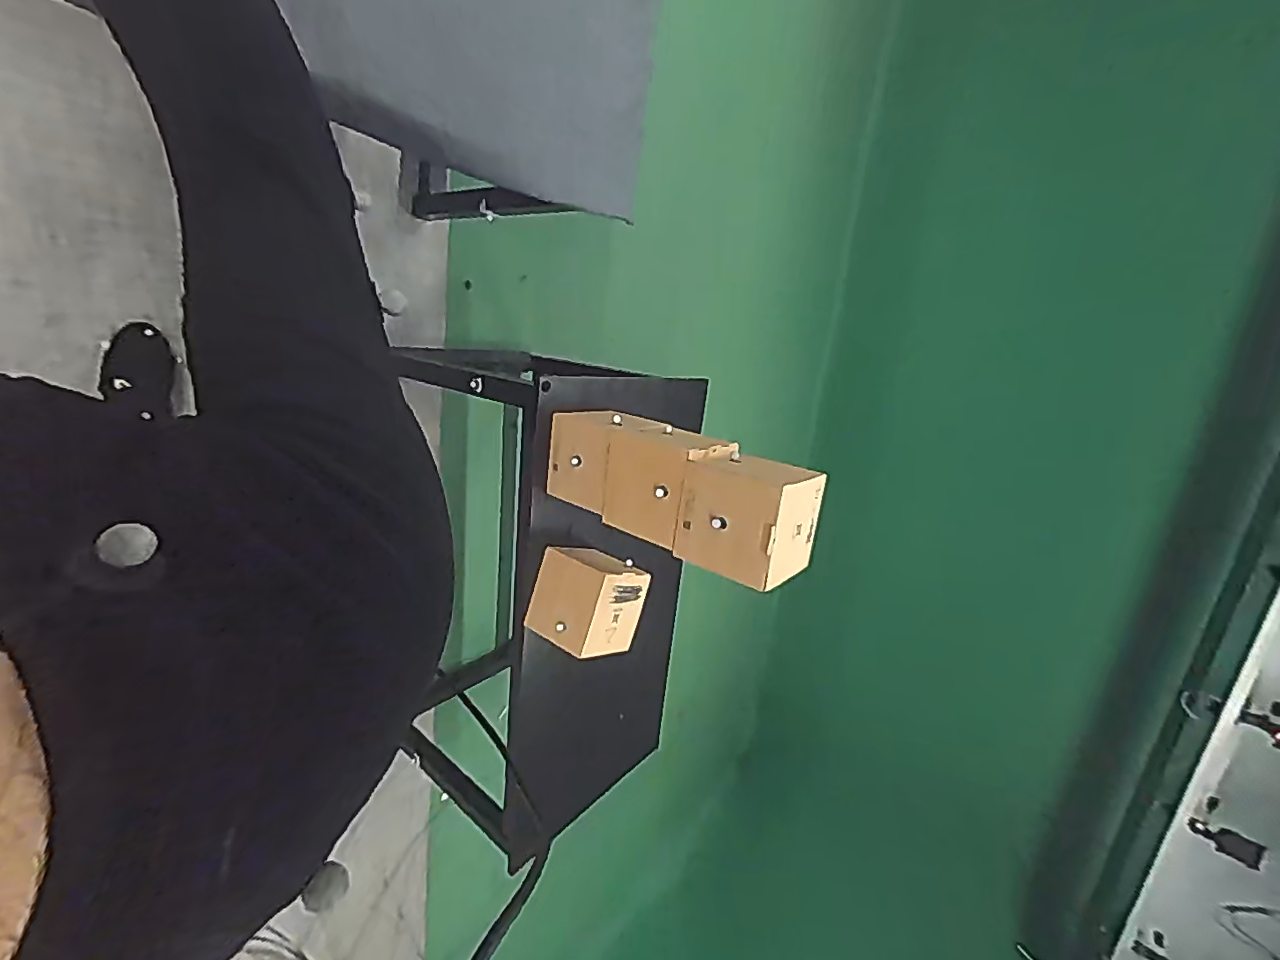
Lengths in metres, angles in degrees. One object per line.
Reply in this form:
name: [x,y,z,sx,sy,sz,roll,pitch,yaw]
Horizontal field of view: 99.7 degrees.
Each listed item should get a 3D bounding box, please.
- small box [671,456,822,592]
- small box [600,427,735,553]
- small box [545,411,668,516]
small box: [0.171,0.060,0.881,0.179,0.176,0.168,-9,111,-50]
small box: [0.046,0.009,0.974,0.168,0.176,0.179,-11,113,-51]
small box: [-0.069,-0.041,1.079,0.179,0.176,0.168,-12,115,-51]
